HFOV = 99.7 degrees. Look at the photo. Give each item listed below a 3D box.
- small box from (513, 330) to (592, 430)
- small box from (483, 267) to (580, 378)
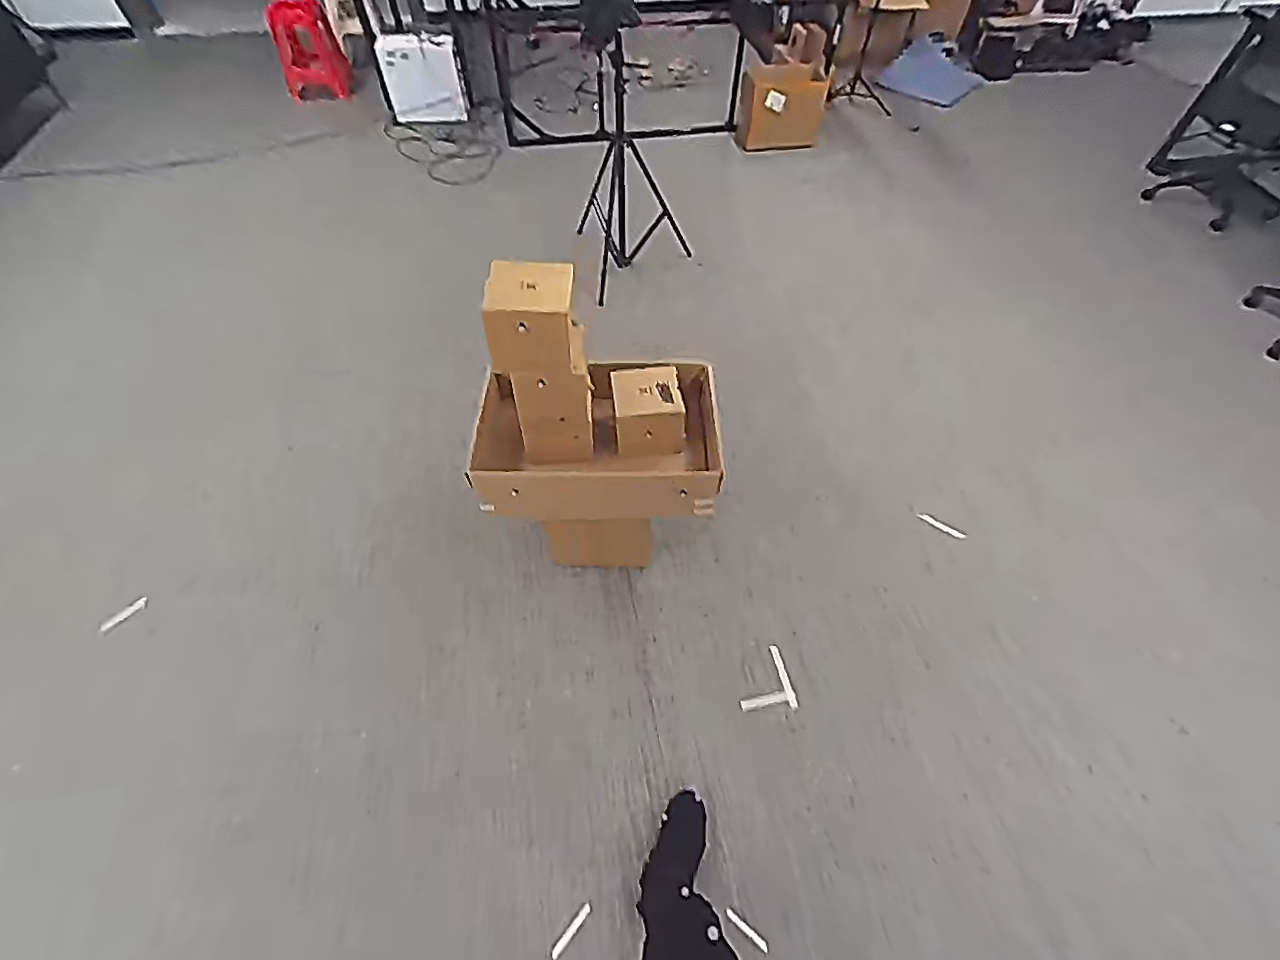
[{"bbox_3d":[-0.204,-0.241,1.301,0.168,0.176,0.179,-2,53,-3],"label":"small box"},{"bbox_3d":[-0.225,-0.337,1.169,0.179,0.176,0.168,1,54,-2],"label":"small box"}]
